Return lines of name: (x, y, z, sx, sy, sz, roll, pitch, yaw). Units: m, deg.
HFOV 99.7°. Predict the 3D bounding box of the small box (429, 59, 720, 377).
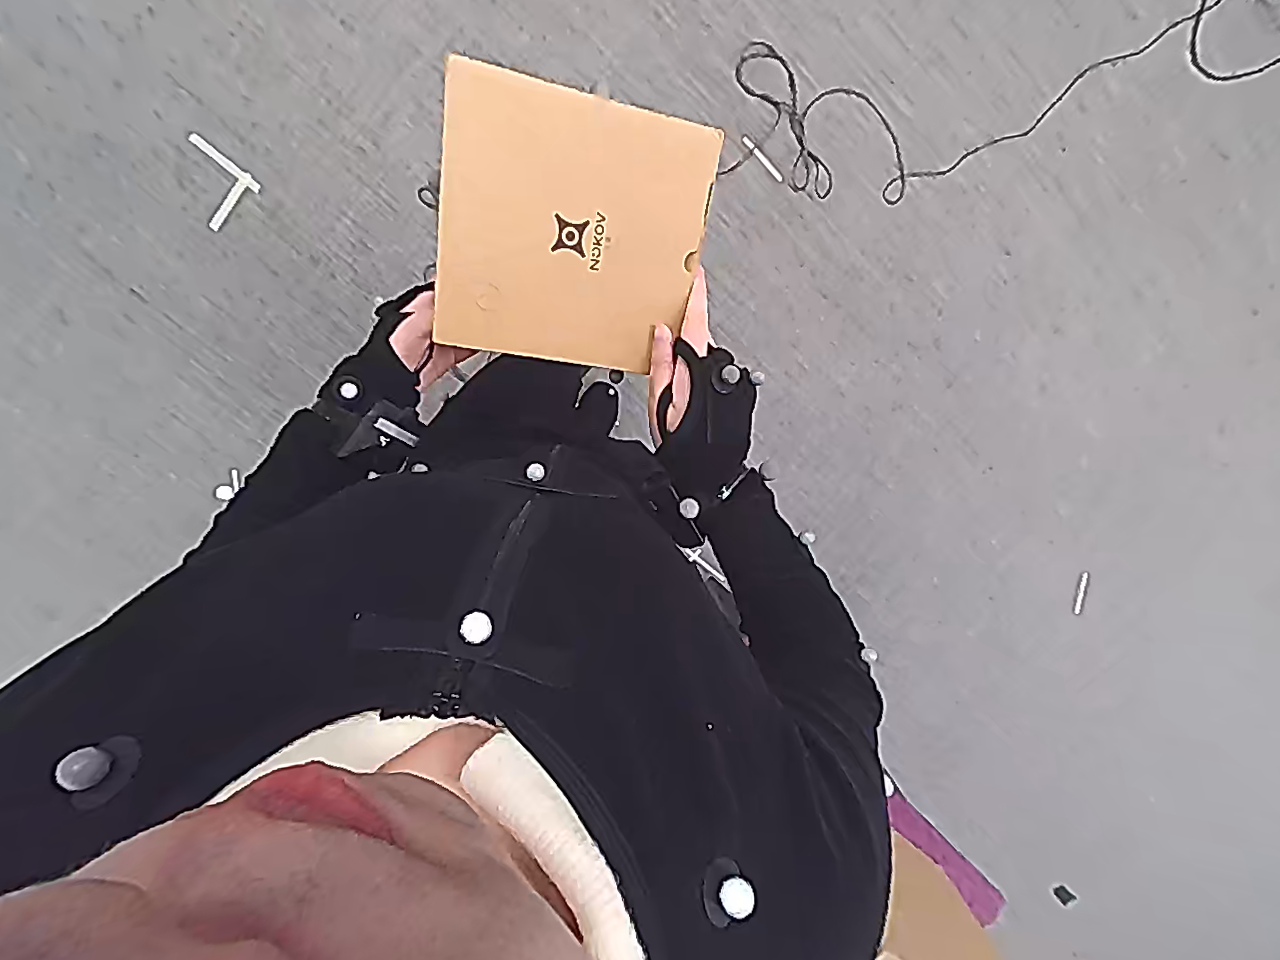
small box: (-0.062, -0.188, 0.433, 0.179, 0.176, 0.168, 5, 109, -16)
